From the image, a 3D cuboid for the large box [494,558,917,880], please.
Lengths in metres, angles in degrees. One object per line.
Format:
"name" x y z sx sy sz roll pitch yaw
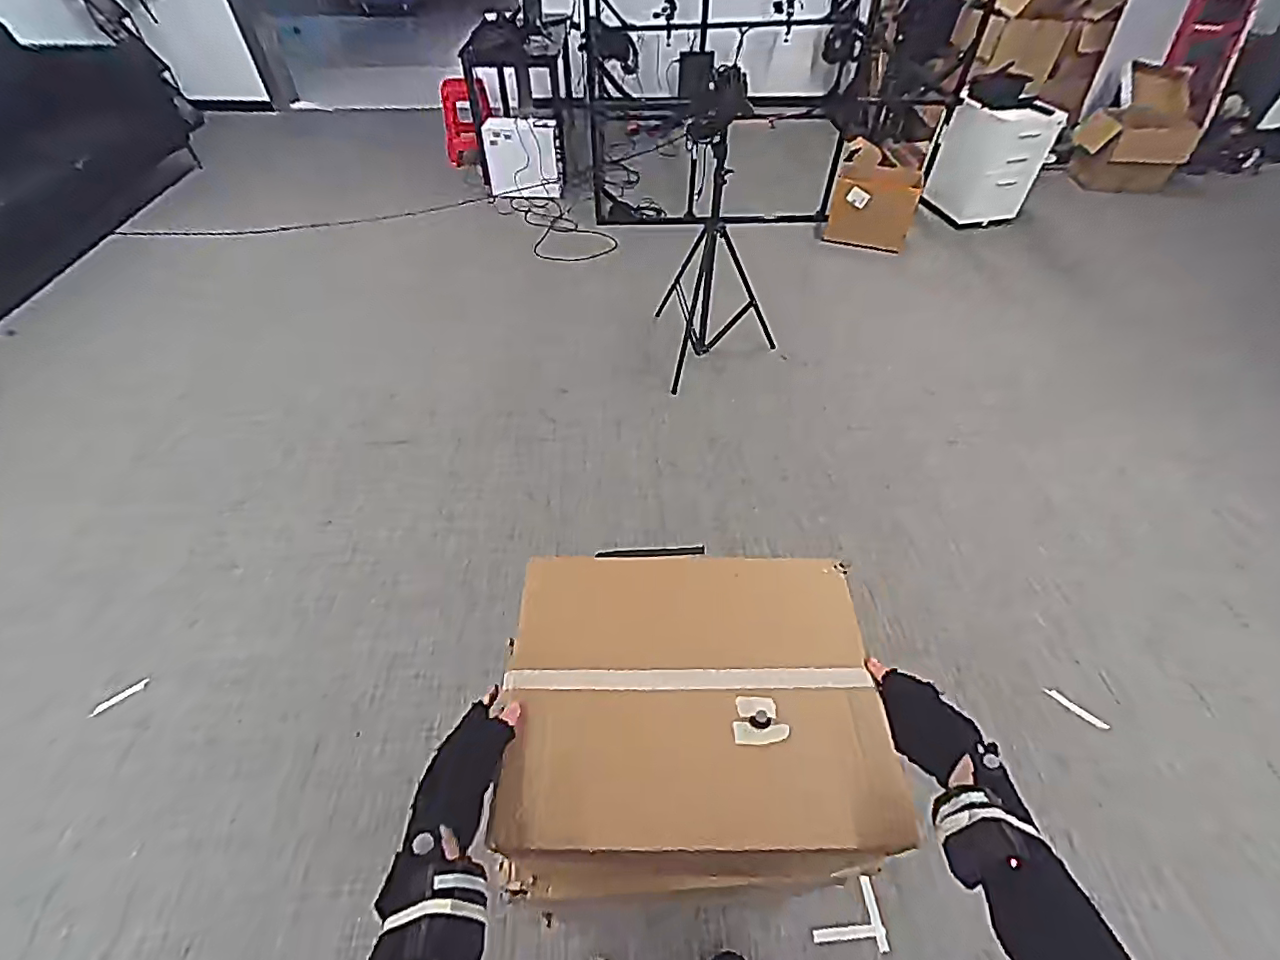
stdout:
"large box" 0.054 0.314 0.705 0.408 0.320 0.320 0 51 -1
